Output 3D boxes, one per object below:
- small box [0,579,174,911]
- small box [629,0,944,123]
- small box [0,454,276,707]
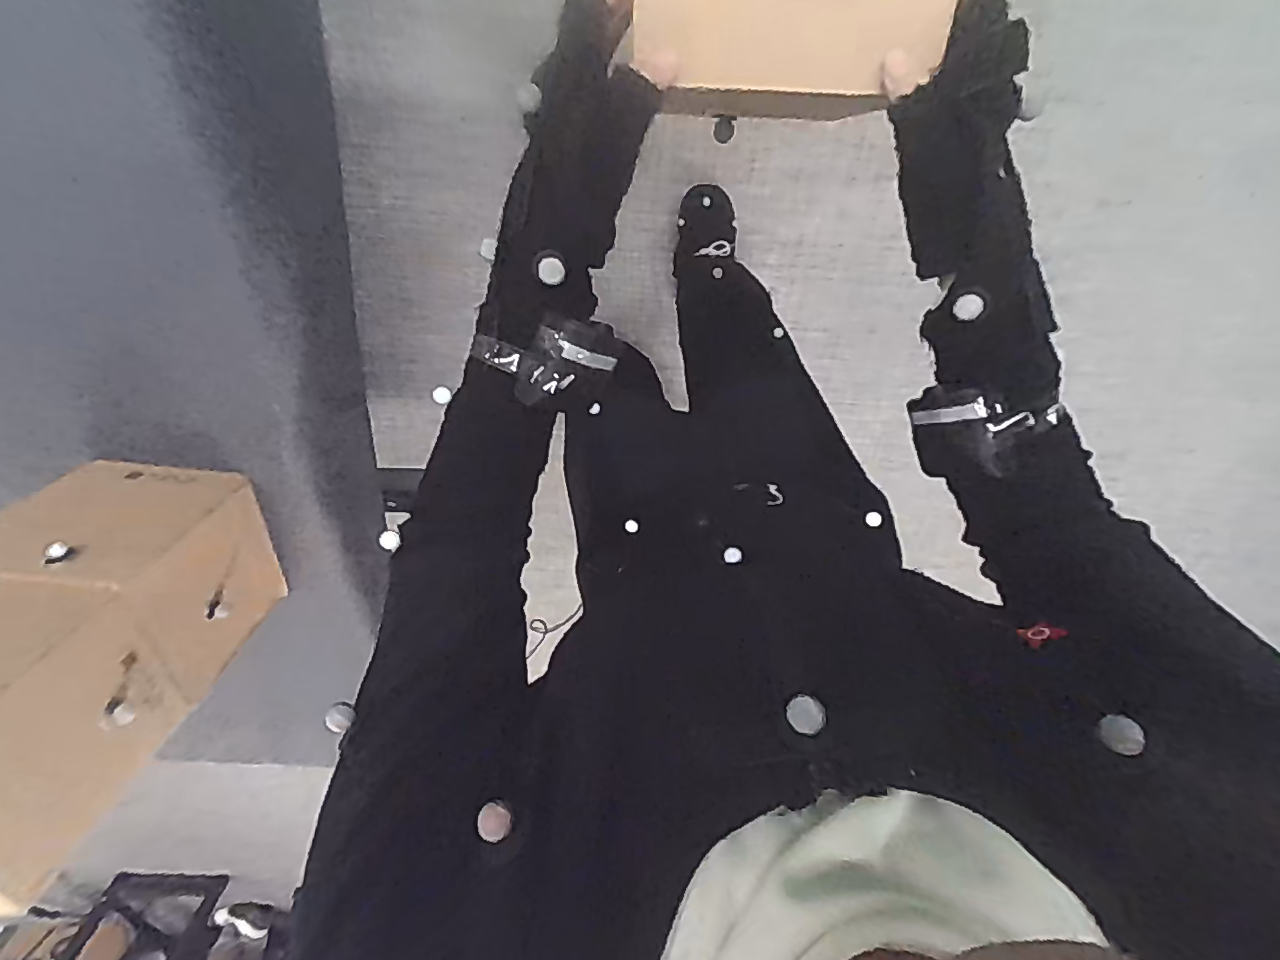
[{"bbox_3d":[-0.525,0.188,0.410,0.179,0.176,0.168,6,123,-2],"label":"small box"},{"bbox_3d":[0.078,-0.330,0.329,0.168,0.176,0.179,2,121,-1],"label":"small box"},{"bbox_3d":[-0.511,0.097,0.547,0.168,0.176,0.179,6,123,-1],"label":"small box"}]
